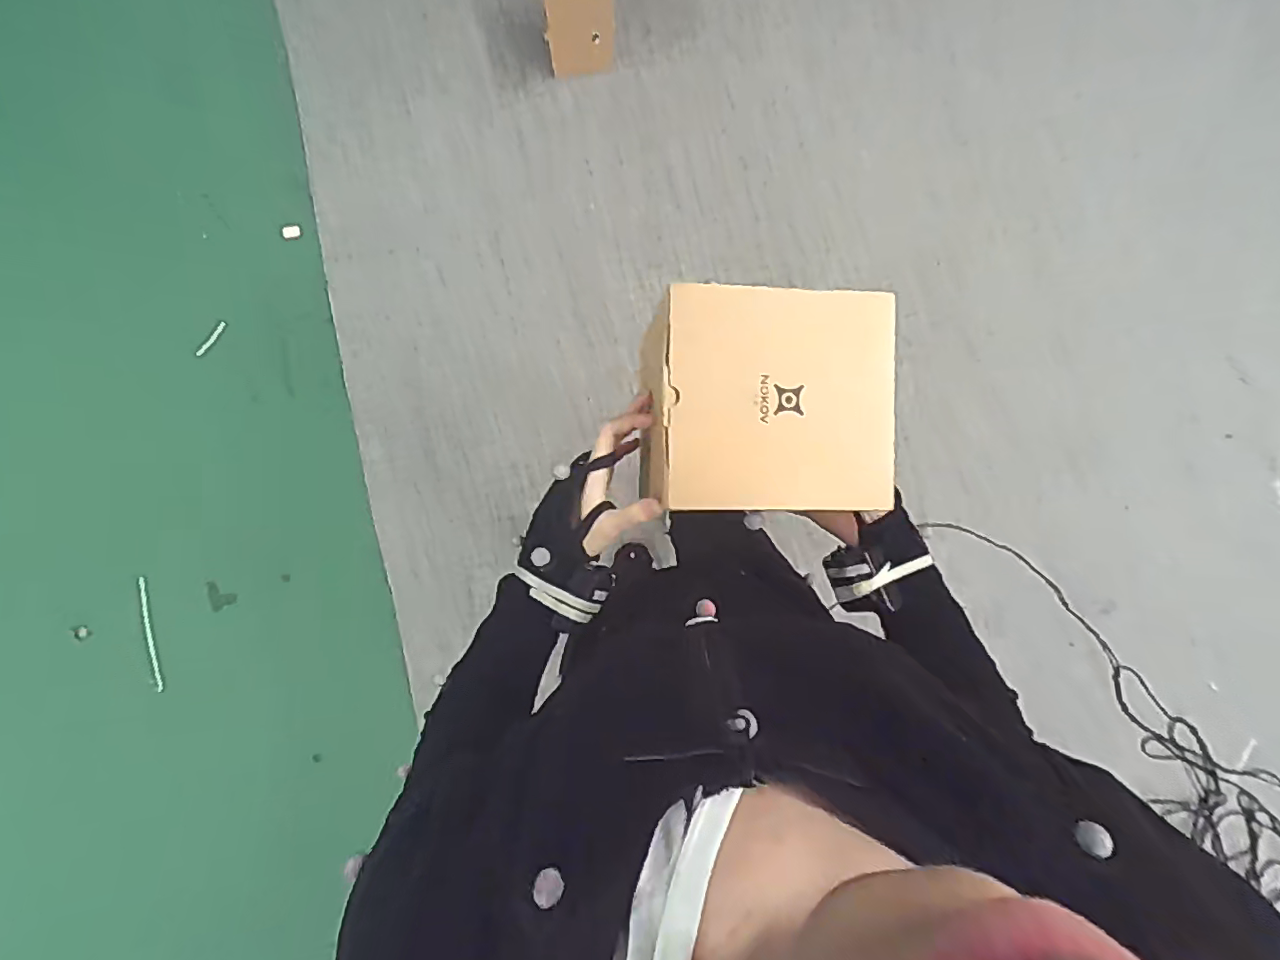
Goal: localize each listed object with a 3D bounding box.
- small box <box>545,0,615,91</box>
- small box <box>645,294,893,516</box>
[{"bbox_3d":[-0.163,-1.228,1.508,0.179,0.176,0.168,-7,86,-1],"label":"small box"},{"bbox_3d":[0.101,-0.056,0.488,0.179,0.176,0.168,0,89,-4],"label":"small box"}]
